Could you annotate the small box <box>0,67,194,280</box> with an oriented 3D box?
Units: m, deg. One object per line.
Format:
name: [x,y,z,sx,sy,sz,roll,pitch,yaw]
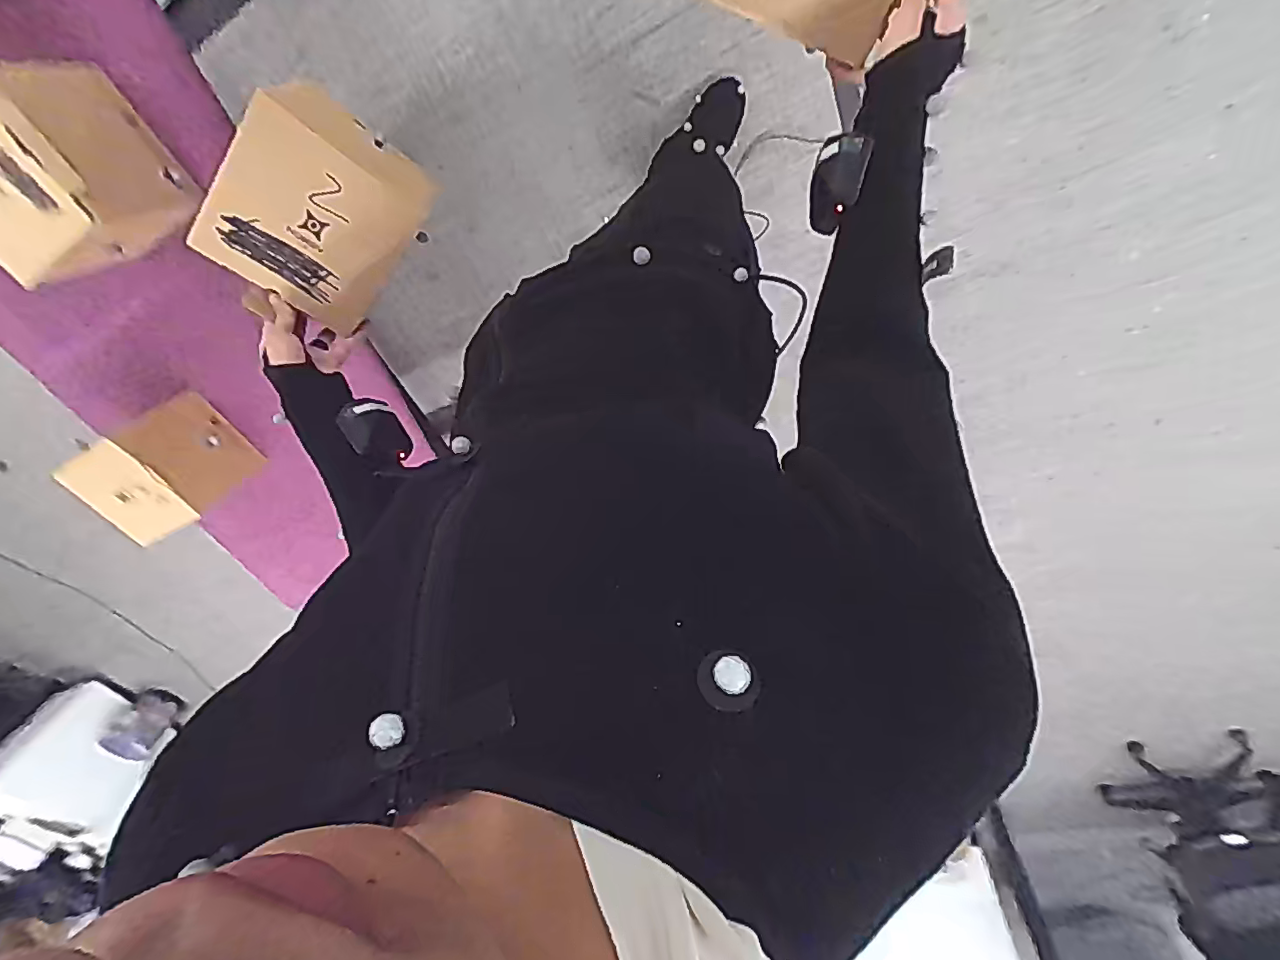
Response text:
small box: [-0.715,-0.380,0.669,0.179,0.176,0.168,-19,120,21]

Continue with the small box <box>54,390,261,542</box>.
small box: [-0.813,-0.026,0.931,0.179,0.176,0.168,-21,119,20]

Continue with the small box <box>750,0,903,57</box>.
small box: [0.172,-0.526,0.481,0.179,0.176,0.168,20,139,-7]
